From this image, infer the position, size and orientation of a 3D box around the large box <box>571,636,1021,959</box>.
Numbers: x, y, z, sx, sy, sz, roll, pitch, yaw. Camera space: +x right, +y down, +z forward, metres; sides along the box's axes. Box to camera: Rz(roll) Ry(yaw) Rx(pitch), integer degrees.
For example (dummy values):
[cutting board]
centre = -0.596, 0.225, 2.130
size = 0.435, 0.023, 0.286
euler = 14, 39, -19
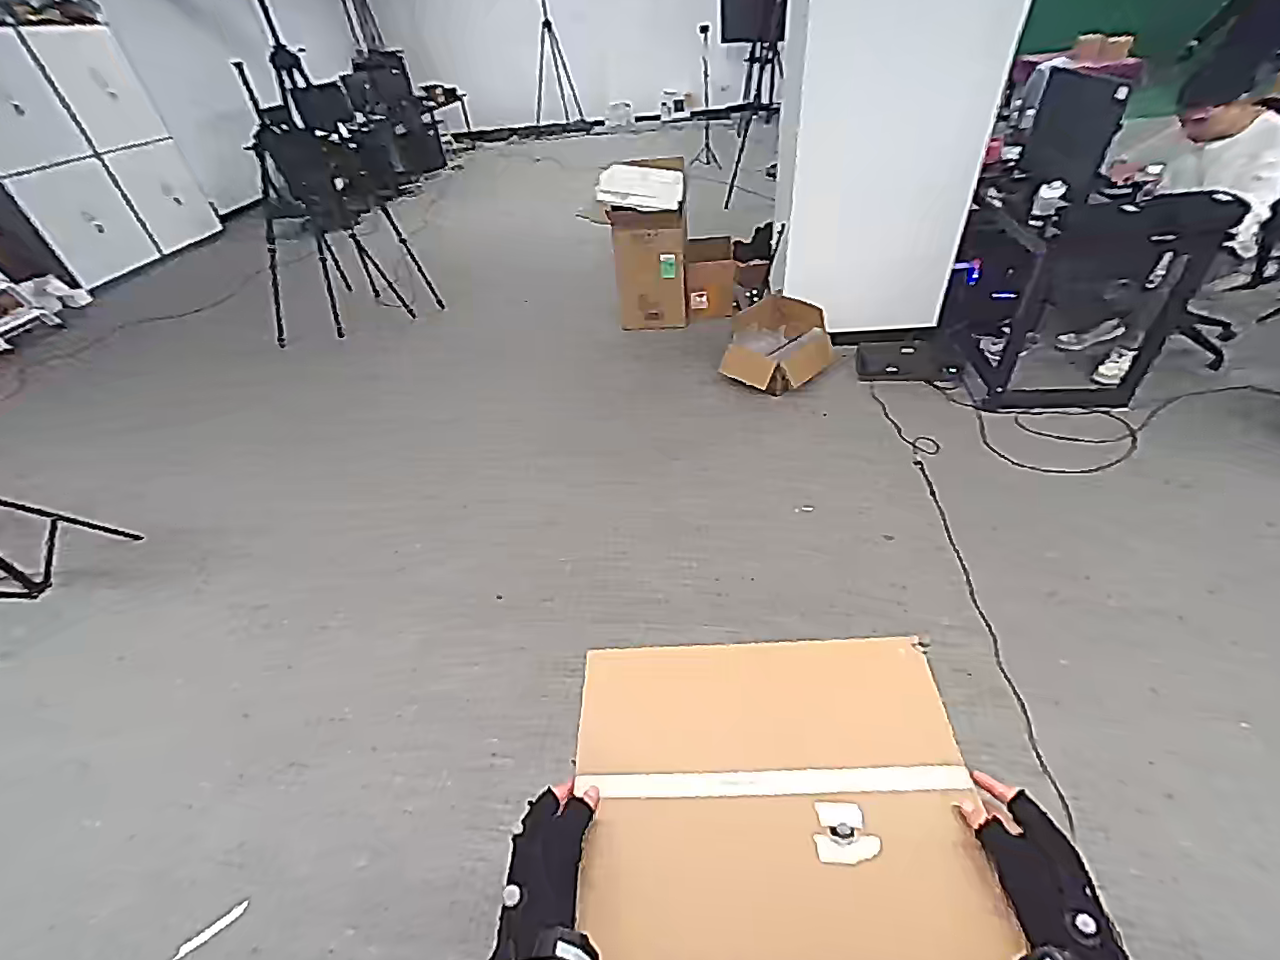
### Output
[large box]
centre = 0.146, 0.423, 0.684
size = 0.408, 0.320, 0.320
euler = -4, 46, 5
